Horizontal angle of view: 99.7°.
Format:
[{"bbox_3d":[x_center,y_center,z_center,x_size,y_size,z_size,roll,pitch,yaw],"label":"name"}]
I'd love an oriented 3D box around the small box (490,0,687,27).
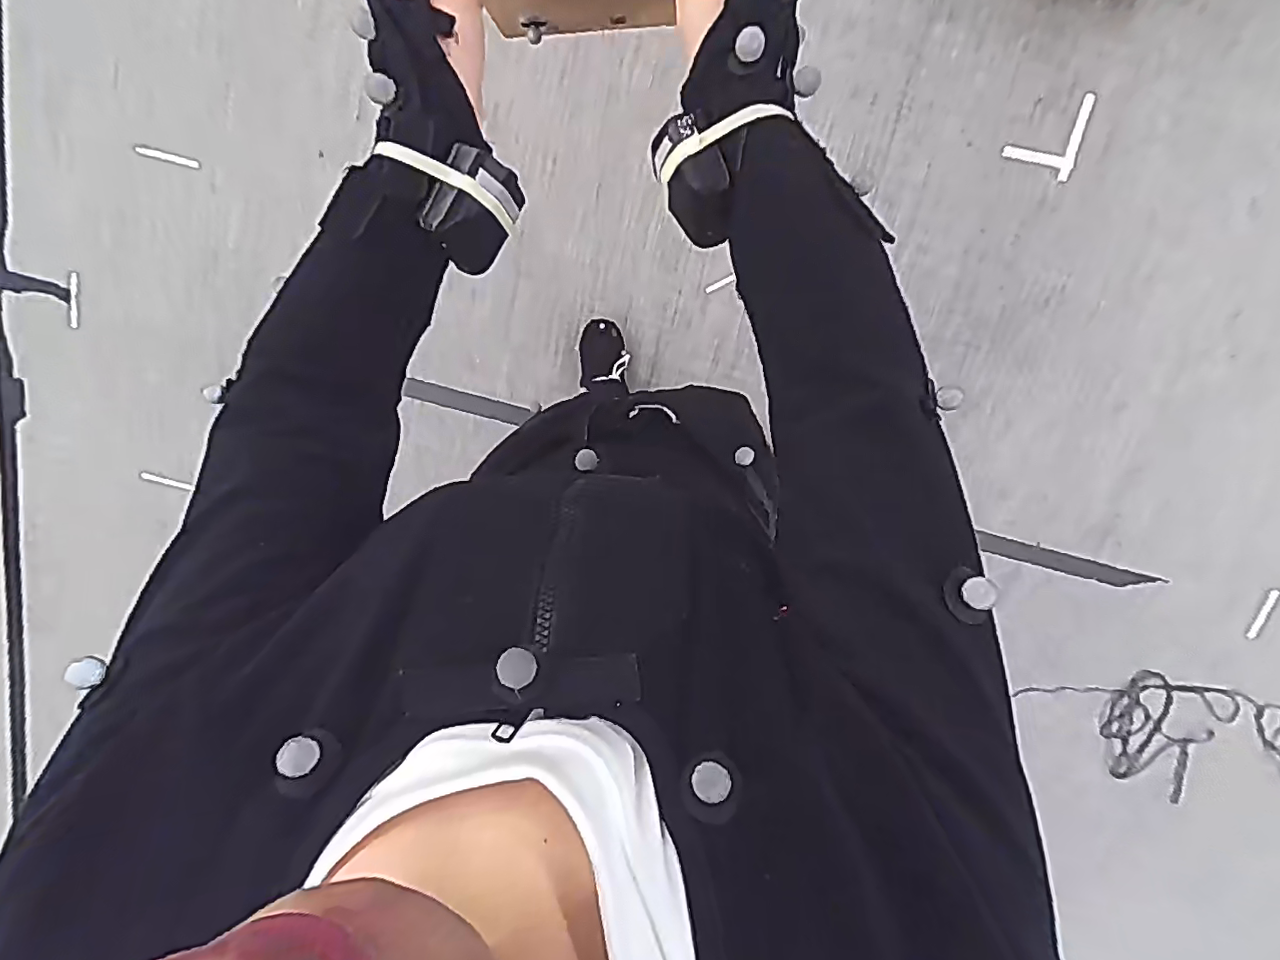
[{"bbox_3d":[-0.046,-0.447,0.371,0.168,0.176,0.179,-3,110,2],"label":"small box"}]
